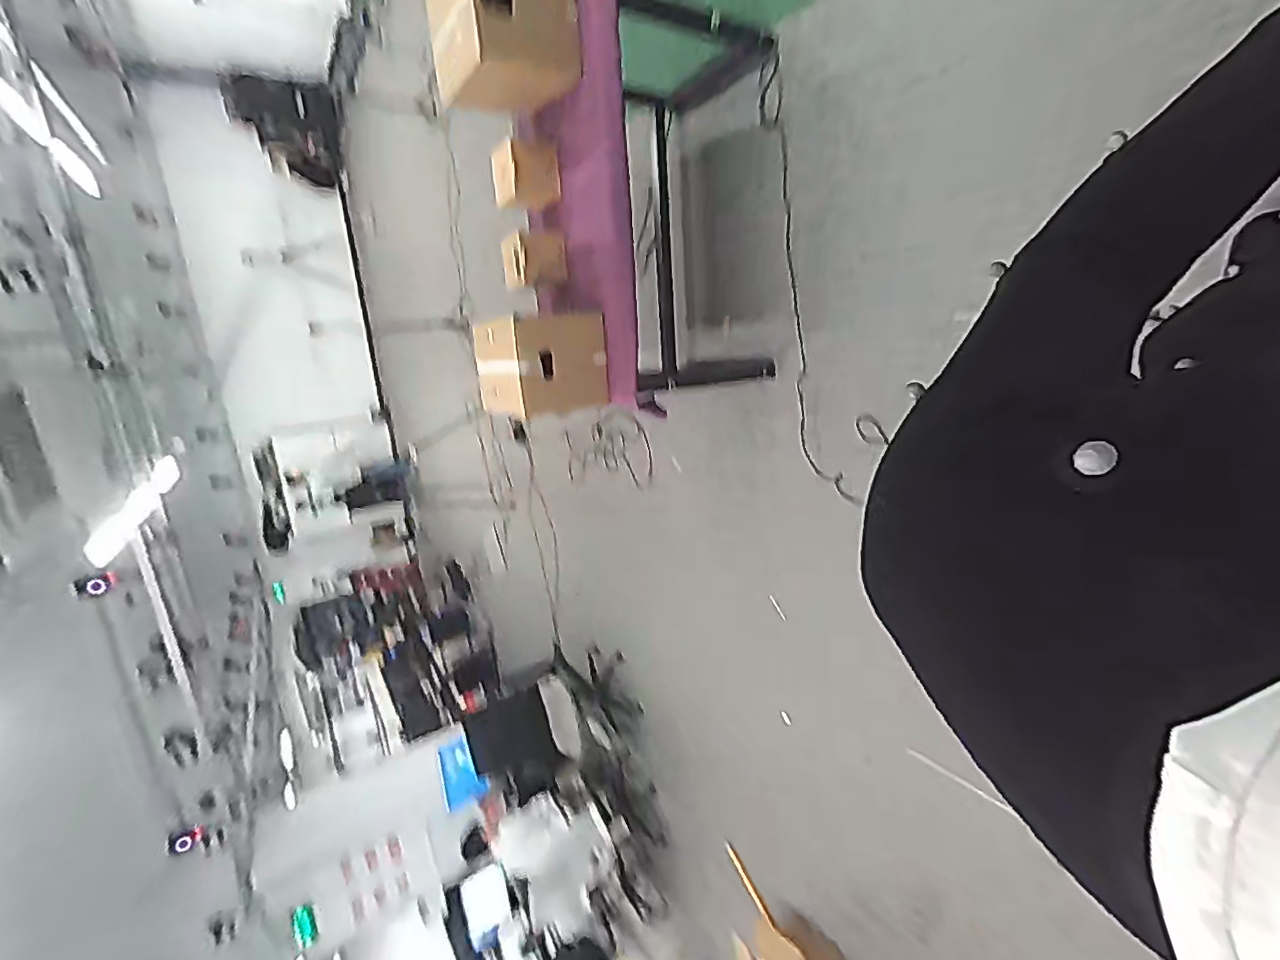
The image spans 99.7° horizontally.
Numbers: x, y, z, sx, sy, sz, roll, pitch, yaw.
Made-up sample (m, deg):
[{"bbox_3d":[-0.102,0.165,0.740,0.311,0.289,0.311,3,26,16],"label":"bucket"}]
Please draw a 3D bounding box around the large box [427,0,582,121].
[{"bbox_3d":[-0.413,-1.339,1.625,0.408,0.320,0.320,19,118,53],"label":"large box"}]
